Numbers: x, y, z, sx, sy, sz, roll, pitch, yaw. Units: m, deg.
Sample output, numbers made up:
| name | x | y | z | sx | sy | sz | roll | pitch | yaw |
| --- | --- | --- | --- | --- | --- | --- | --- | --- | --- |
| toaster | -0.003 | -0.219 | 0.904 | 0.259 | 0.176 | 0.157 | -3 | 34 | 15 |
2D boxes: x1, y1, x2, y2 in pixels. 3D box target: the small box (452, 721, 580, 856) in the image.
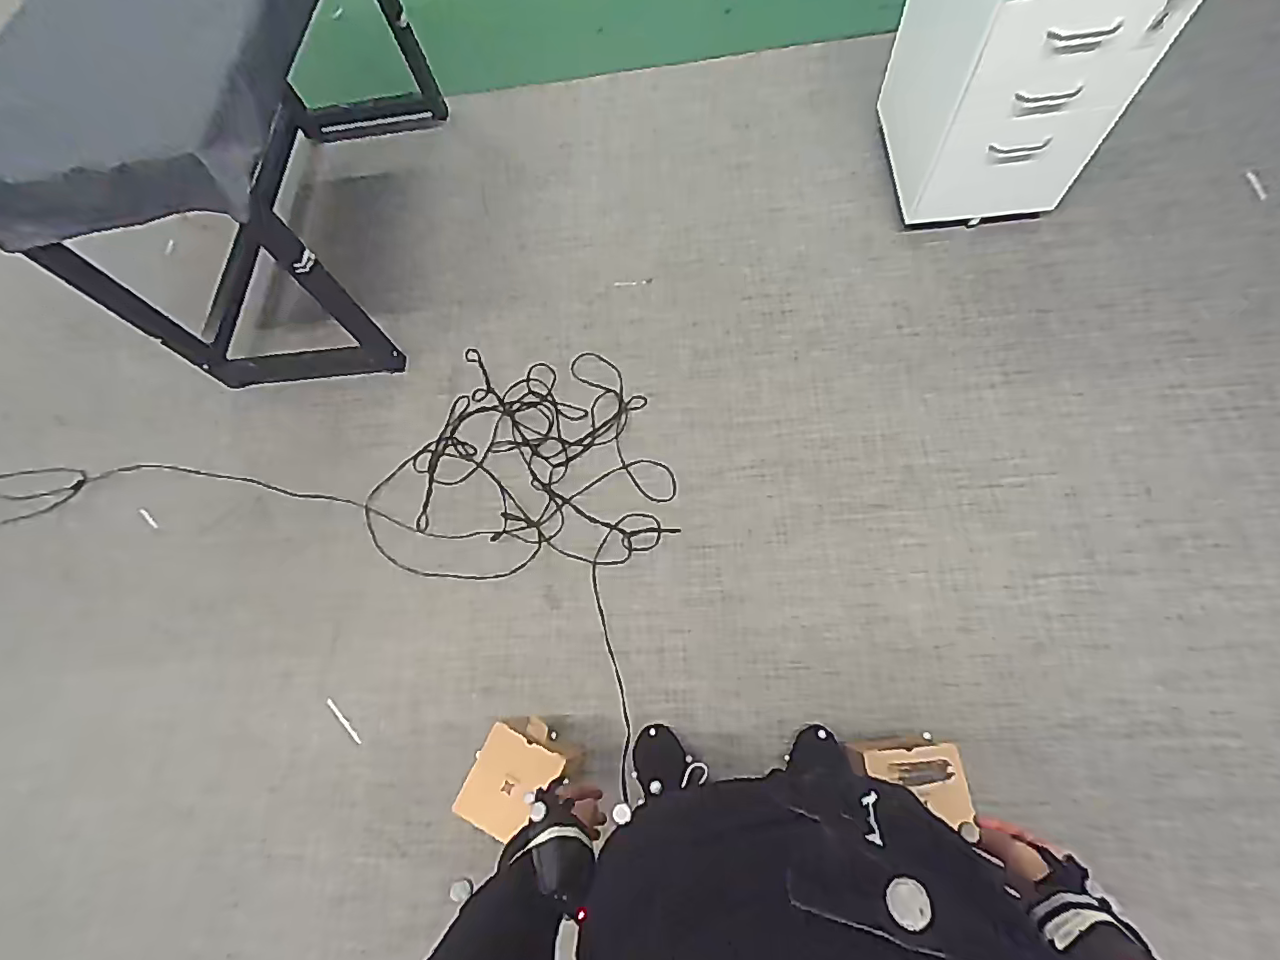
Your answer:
| name | x | y | z | sx | sy | sz | roll | pitch | yaw |
| --- | --- | --- | --- | --- | --- | --- | --- | --- | --- |
| small box | -0.240 | 0.613 | 1.099 | 0.168 | 0.176 | 0.179 | 21 | 72 | 15 |
